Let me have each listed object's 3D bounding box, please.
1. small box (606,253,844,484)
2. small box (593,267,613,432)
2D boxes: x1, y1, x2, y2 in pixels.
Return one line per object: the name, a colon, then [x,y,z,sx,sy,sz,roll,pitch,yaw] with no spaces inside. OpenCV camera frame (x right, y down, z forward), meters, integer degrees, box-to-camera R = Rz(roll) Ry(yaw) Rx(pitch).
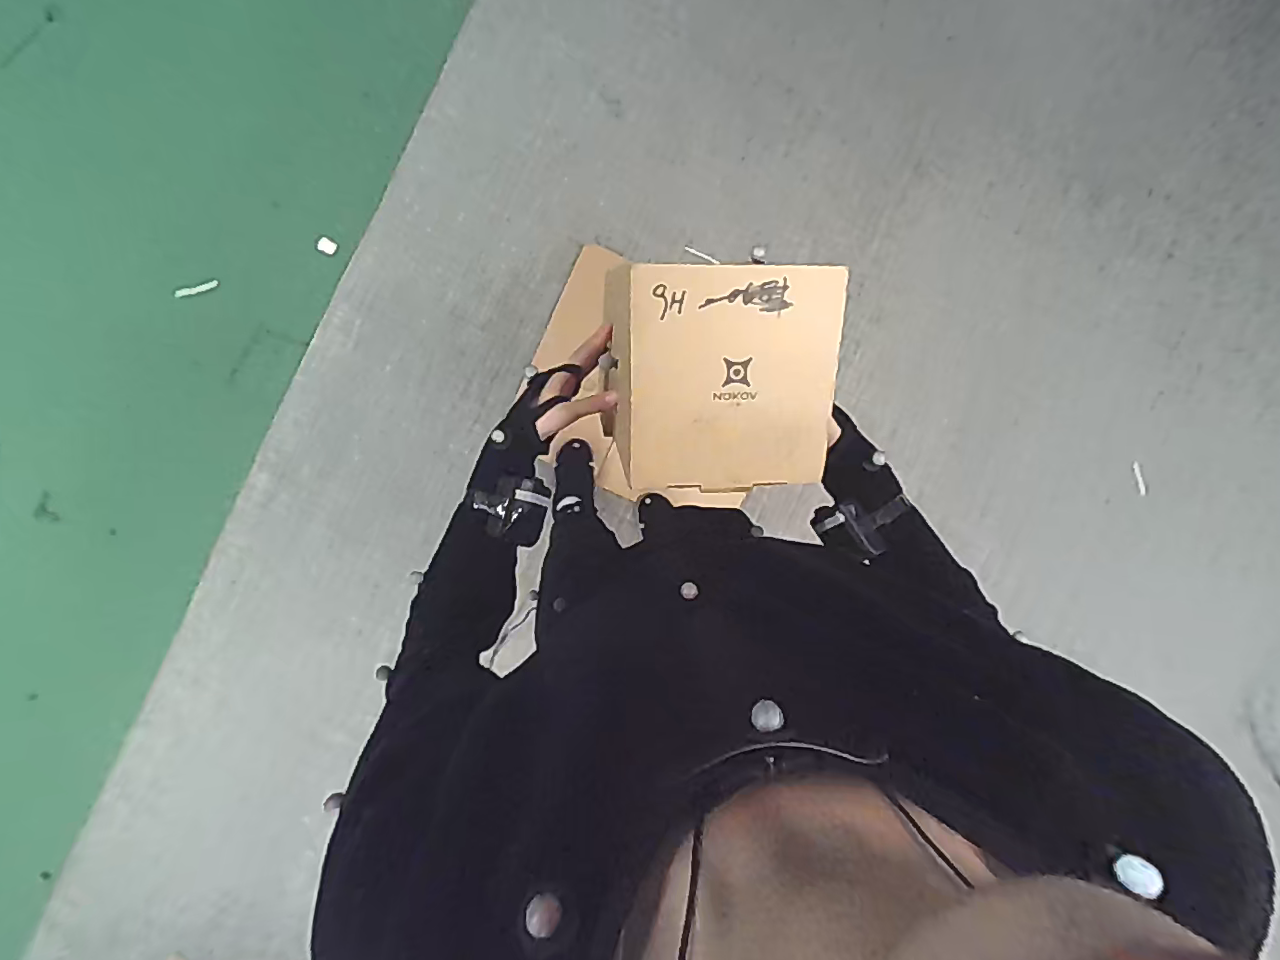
small box: [0.058,-0.109,0.489,0.168,0.176,0.179,-3,111,-7]
small box: [0.032,-0.158,0.643,0.168,0.176,0.179,2,110,-8]
